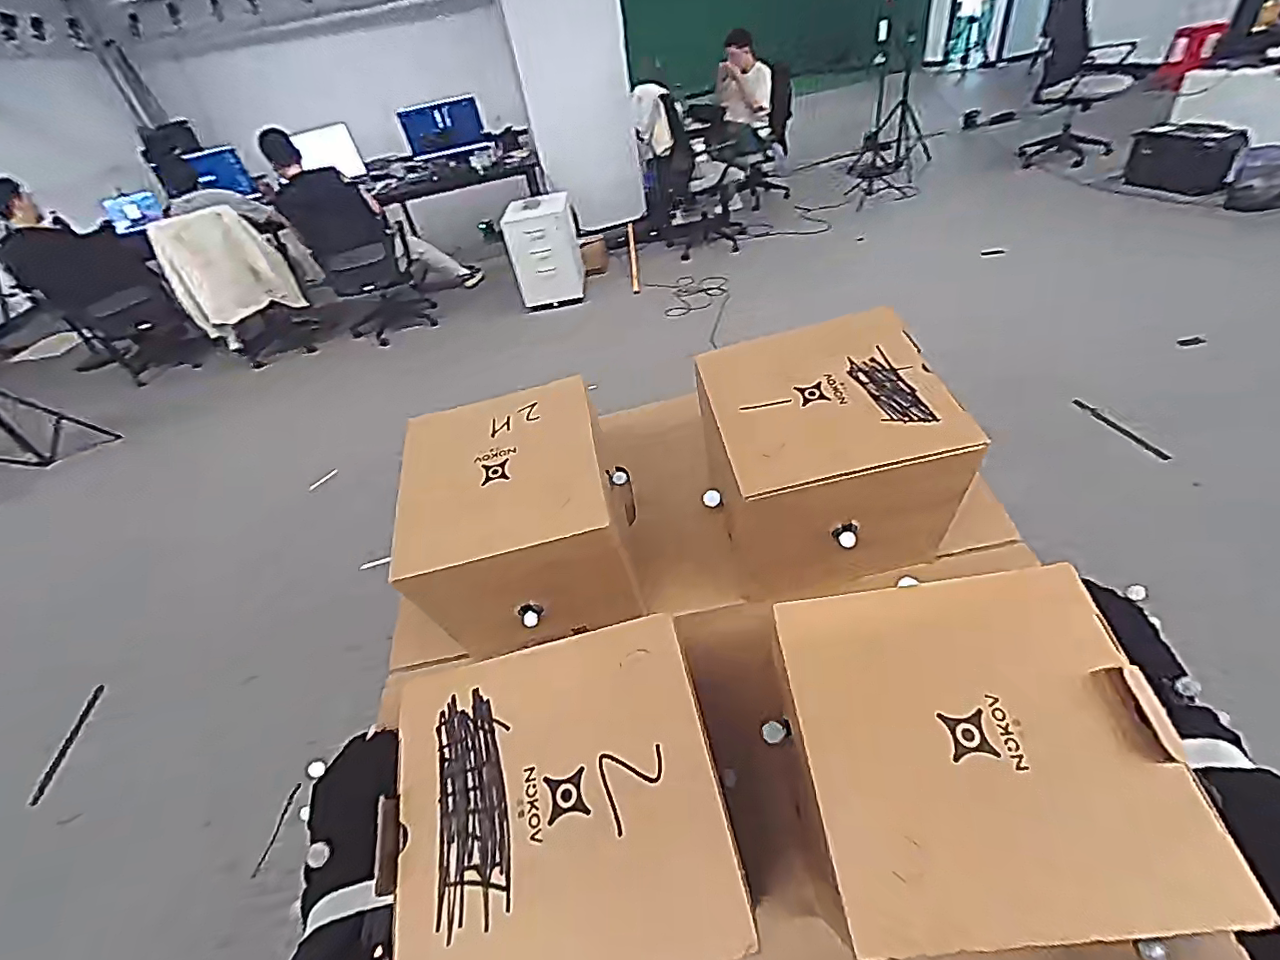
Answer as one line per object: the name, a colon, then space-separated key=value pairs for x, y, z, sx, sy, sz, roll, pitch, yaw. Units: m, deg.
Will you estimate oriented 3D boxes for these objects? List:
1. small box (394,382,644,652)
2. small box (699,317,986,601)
small box: x=-0.098 y=0.043 z=0.502 sx=0.168 sy=0.176 sz=0.179 roll=-13 pitch=49 yaw=2
small box: x=0.159 y=-0.012 z=0.486 sx=0.179 sy=0.176 sz=0.168 roll=-13 pitch=50 yaw=4
